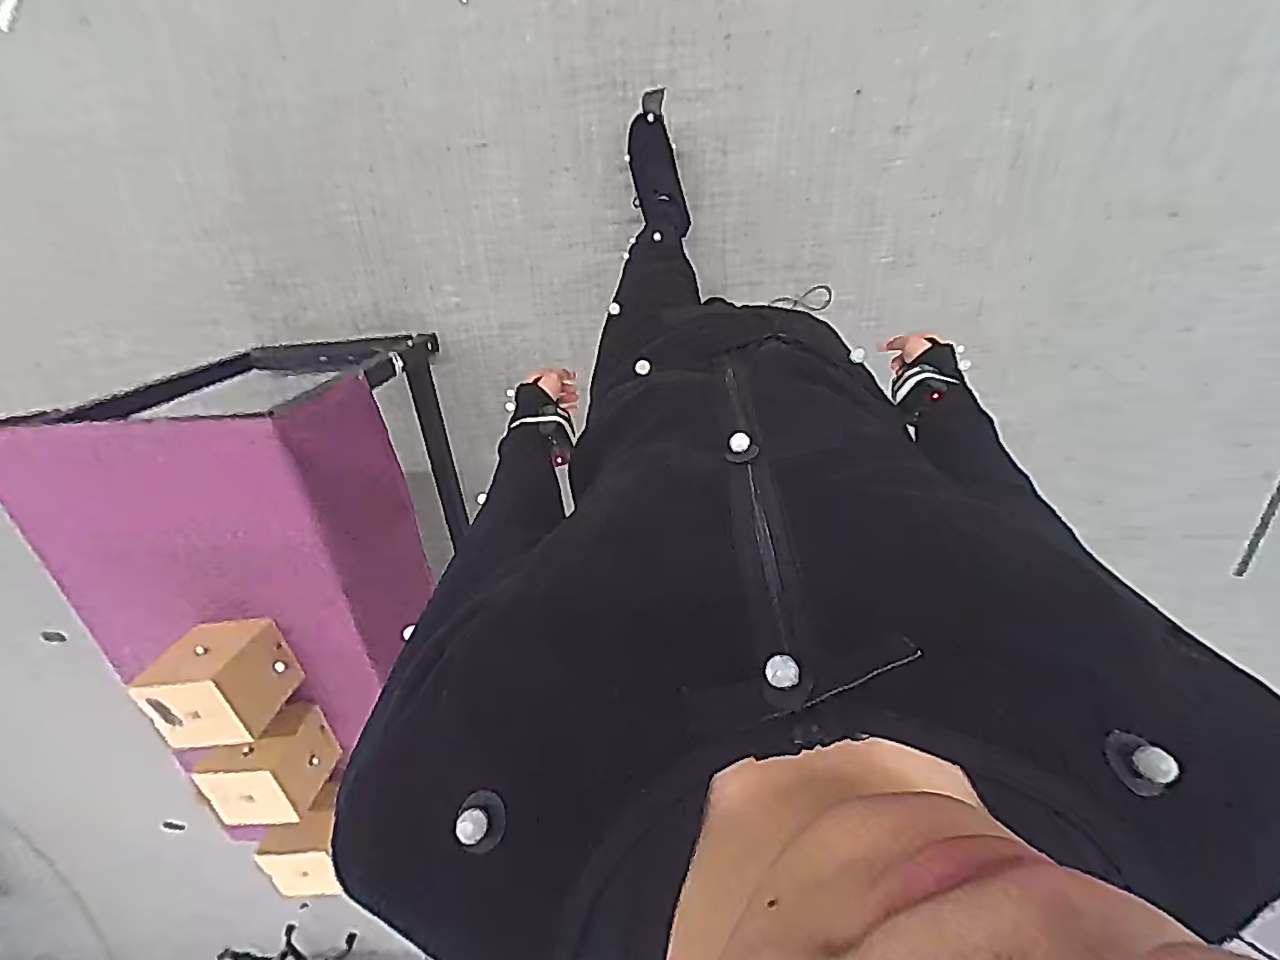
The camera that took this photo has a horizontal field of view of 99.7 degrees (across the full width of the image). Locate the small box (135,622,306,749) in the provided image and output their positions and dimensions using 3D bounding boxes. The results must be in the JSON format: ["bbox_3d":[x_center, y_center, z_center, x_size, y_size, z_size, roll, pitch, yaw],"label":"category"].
[{"bbox_3d":[-0.821,0.405,1.080,0.179,0.176,0.168,-8,116,6],"label":"small box"}]

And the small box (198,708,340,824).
[{"bbox_3d":[-0.795,0.621,1.186,0.179,0.176,0.168,-4,116,6],"label":"small box"}]

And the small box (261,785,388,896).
[{"bbox_3d":[-0.750,0.864,1.305,0.179,0.176,0.168,-6,116,7],"label":"small box"}]
